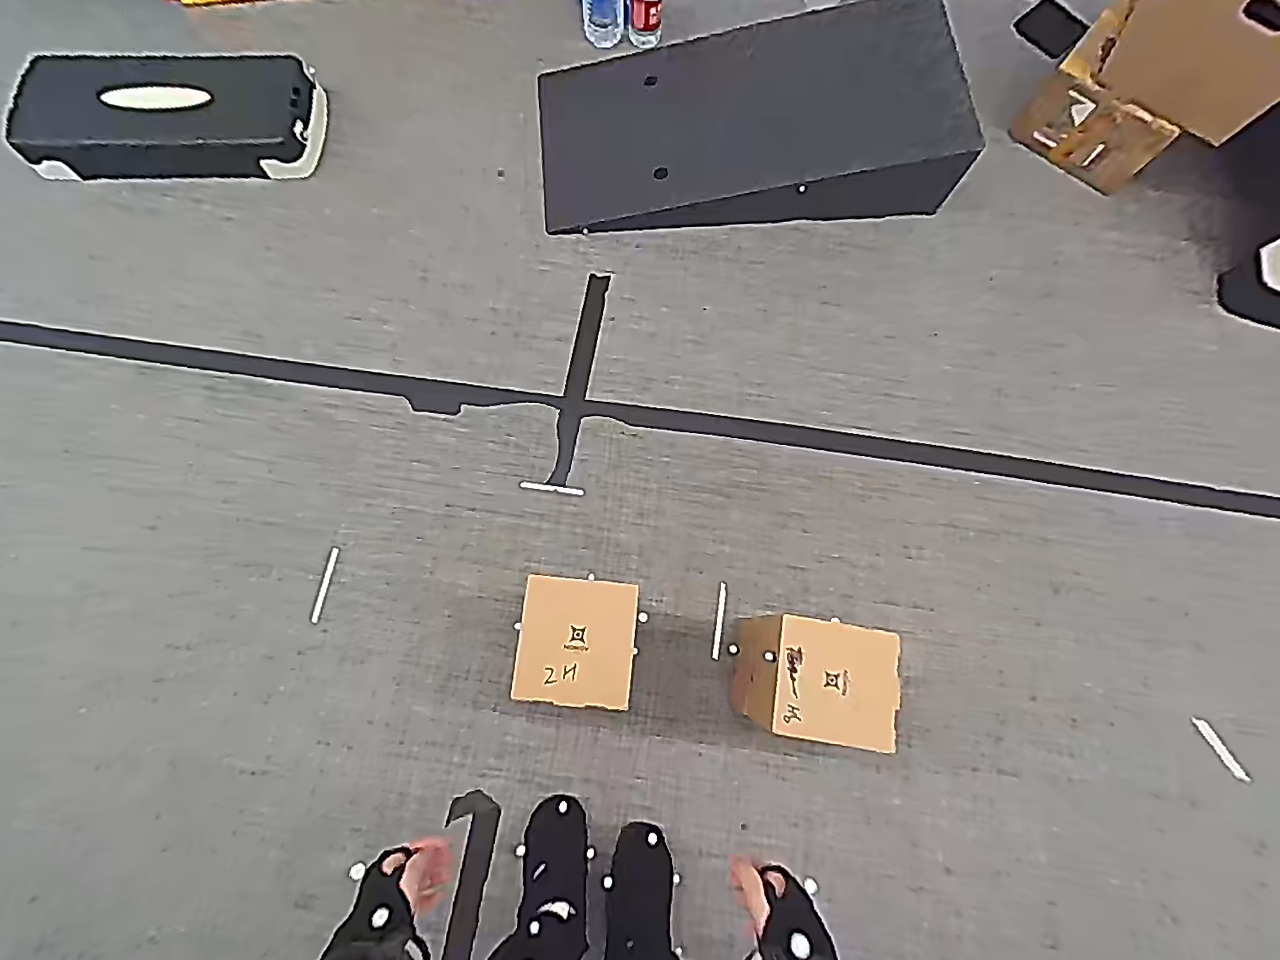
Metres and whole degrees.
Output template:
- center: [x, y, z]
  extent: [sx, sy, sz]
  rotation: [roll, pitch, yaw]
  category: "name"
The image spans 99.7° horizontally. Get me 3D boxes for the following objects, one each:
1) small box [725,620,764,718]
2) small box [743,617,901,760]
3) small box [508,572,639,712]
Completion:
- center: [0.268, 0.355, 0.992]
  extent: [0.179, 0.176, 0.168]
  rotation: [12, 75, 2]
  category: "small box"
- center: [0.273, 0.310, 0.835]
  extent: [0.179, 0.176, 0.168]
  rotation: [11, 74, 0]
  category: "small box"
- center: [-0.095, 0.246, 0.836]
  extent: [0.168, 0.176, 0.179]
  rotation: [6, 75, 0]
  category: "small box"
